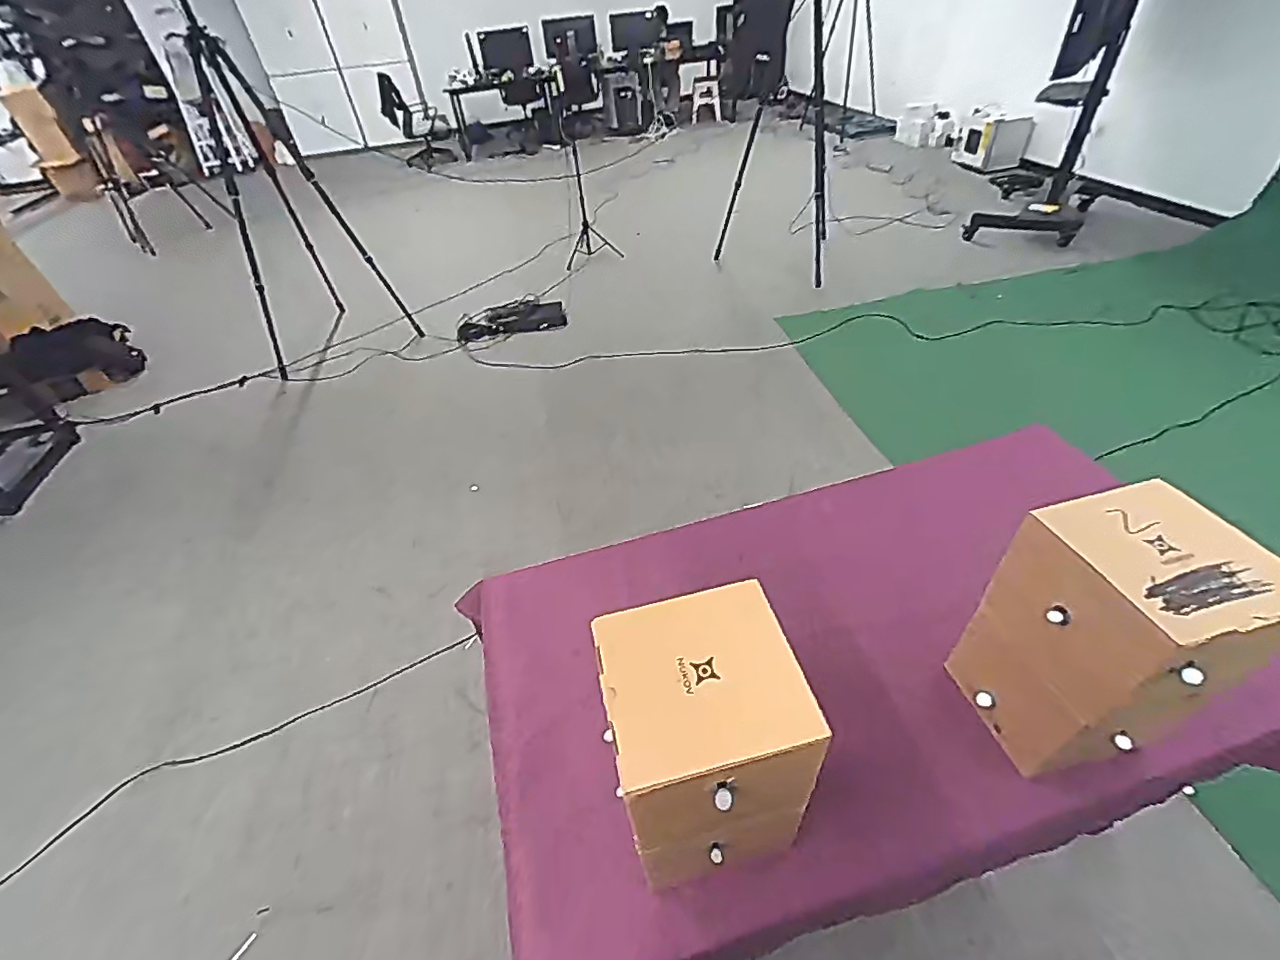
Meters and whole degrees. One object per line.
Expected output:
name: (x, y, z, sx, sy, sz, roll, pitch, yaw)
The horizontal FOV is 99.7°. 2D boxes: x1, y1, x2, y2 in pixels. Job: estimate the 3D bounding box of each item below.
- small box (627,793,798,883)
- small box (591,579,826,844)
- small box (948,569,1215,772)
small box: (0.070, 0.352, 0.649, 0.179, 0.176, 0.168, -12, 43, -6)
small box: (0.059, 0.230, 0.540, 0.179, 0.176, 0.168, -14, 42, -5)
small box: (0.542, 0.246, 0.699, 0.179, 0.176, 0.168, -14, 42, -5)
